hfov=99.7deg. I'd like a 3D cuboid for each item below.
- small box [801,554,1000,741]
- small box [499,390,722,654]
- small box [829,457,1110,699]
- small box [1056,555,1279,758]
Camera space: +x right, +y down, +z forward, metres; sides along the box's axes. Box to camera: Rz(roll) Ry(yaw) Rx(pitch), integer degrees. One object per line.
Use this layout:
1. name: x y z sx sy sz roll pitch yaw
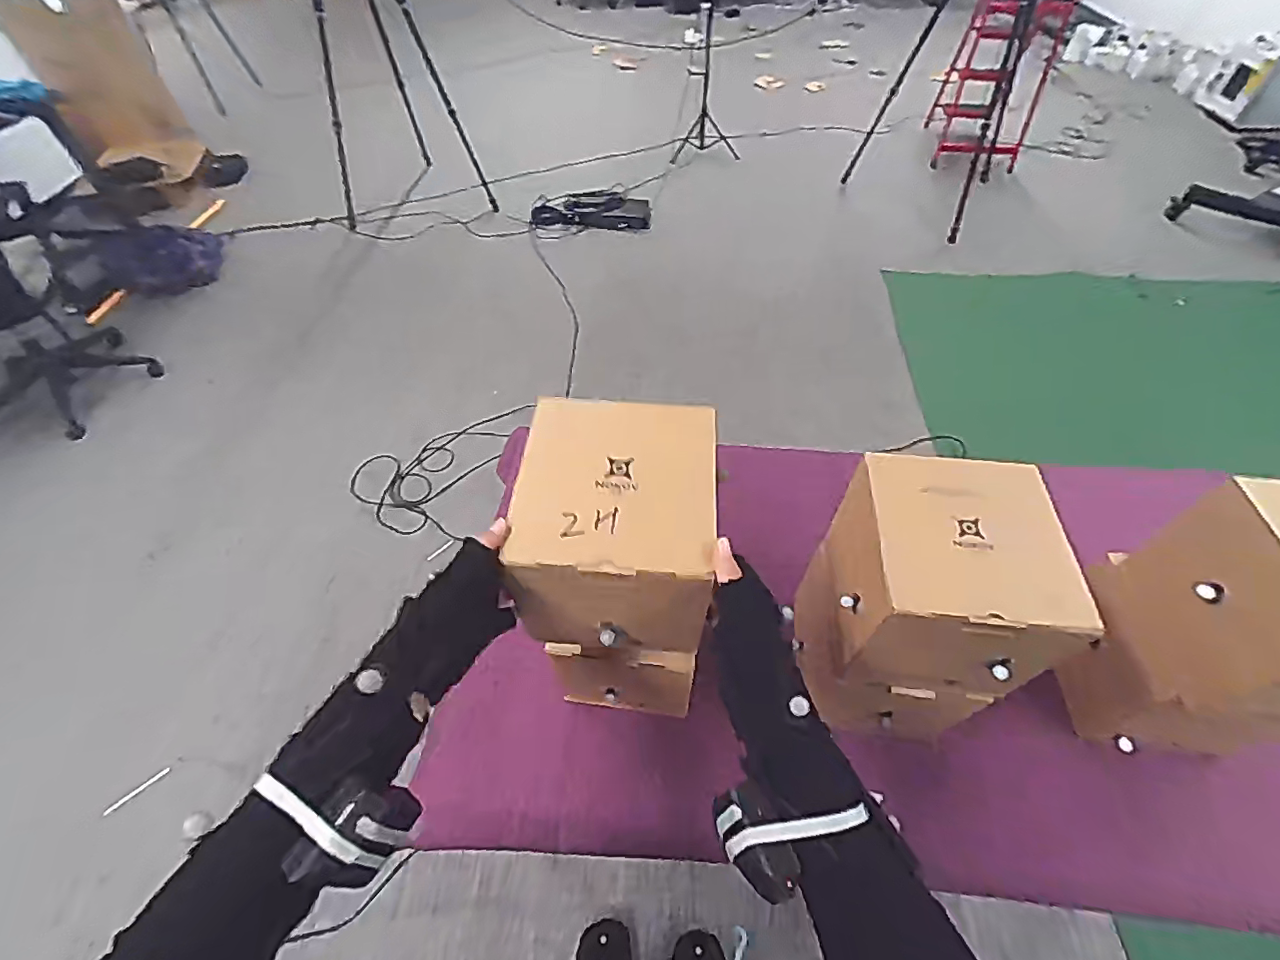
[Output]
1. small box: 0.299 0.209 0.667 0.168 0.176 0.179 1 52 7
2. small box: -0.017 0.042 0.503 0.168 0.176 0.179 4 54 2
3. small box: 0.297 0.101 0.538 0.168 0.176 0.179 5 52 5
4. small box: 0.633 0.215 0.646 0.168 0.176 0.179 8 53 5
